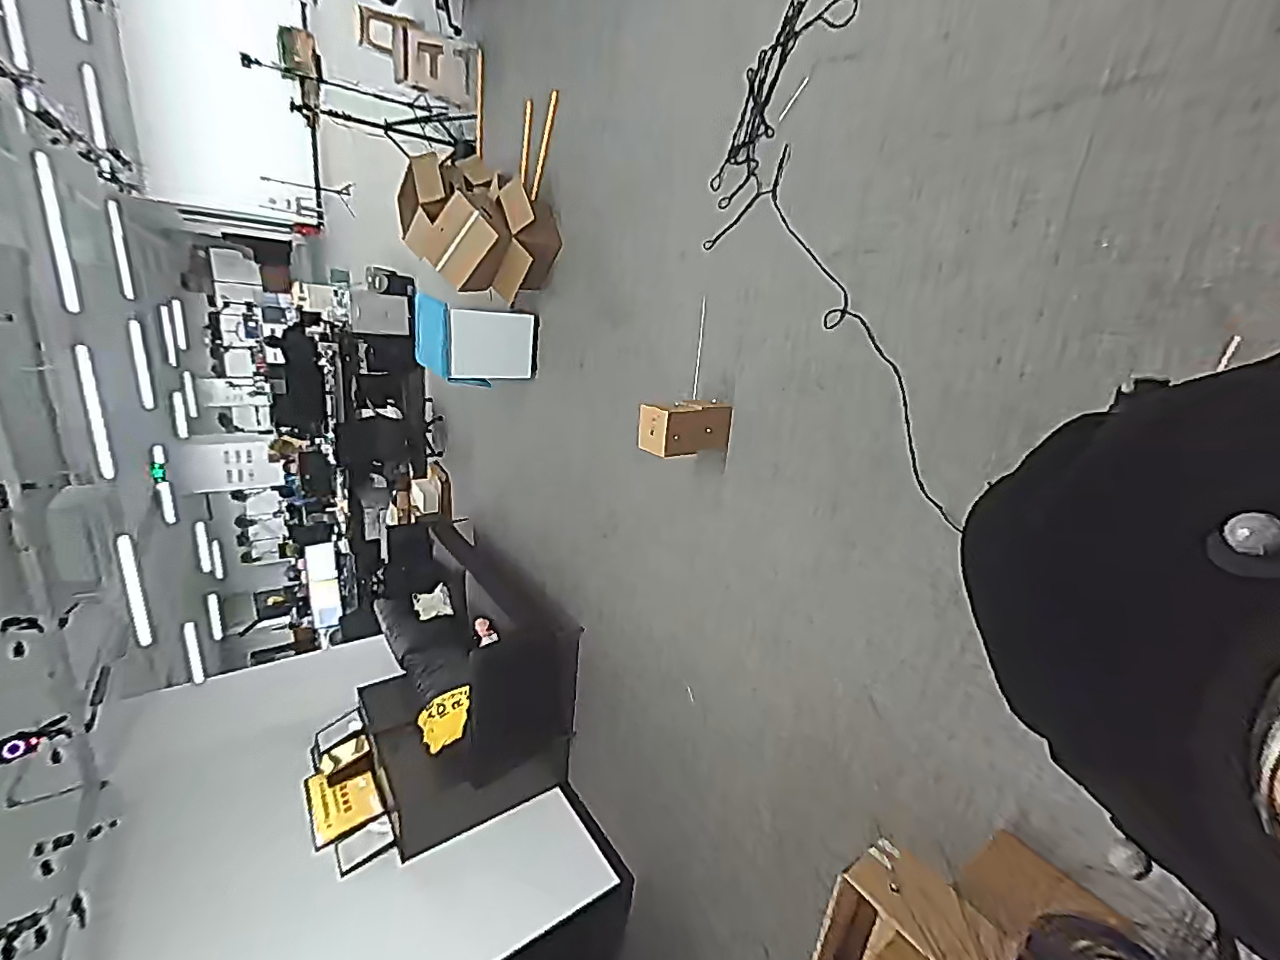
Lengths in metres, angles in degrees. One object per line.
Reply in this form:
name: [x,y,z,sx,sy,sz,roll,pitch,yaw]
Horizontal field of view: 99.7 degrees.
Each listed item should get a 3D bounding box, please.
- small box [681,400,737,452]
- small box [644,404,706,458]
small box: [0.270,-0.220,2.171,0.168,0.176,0.179,25,116,50]
small box: [0.135,-0.193,2.080,0.168,0.176,0.179,25,116,49]
